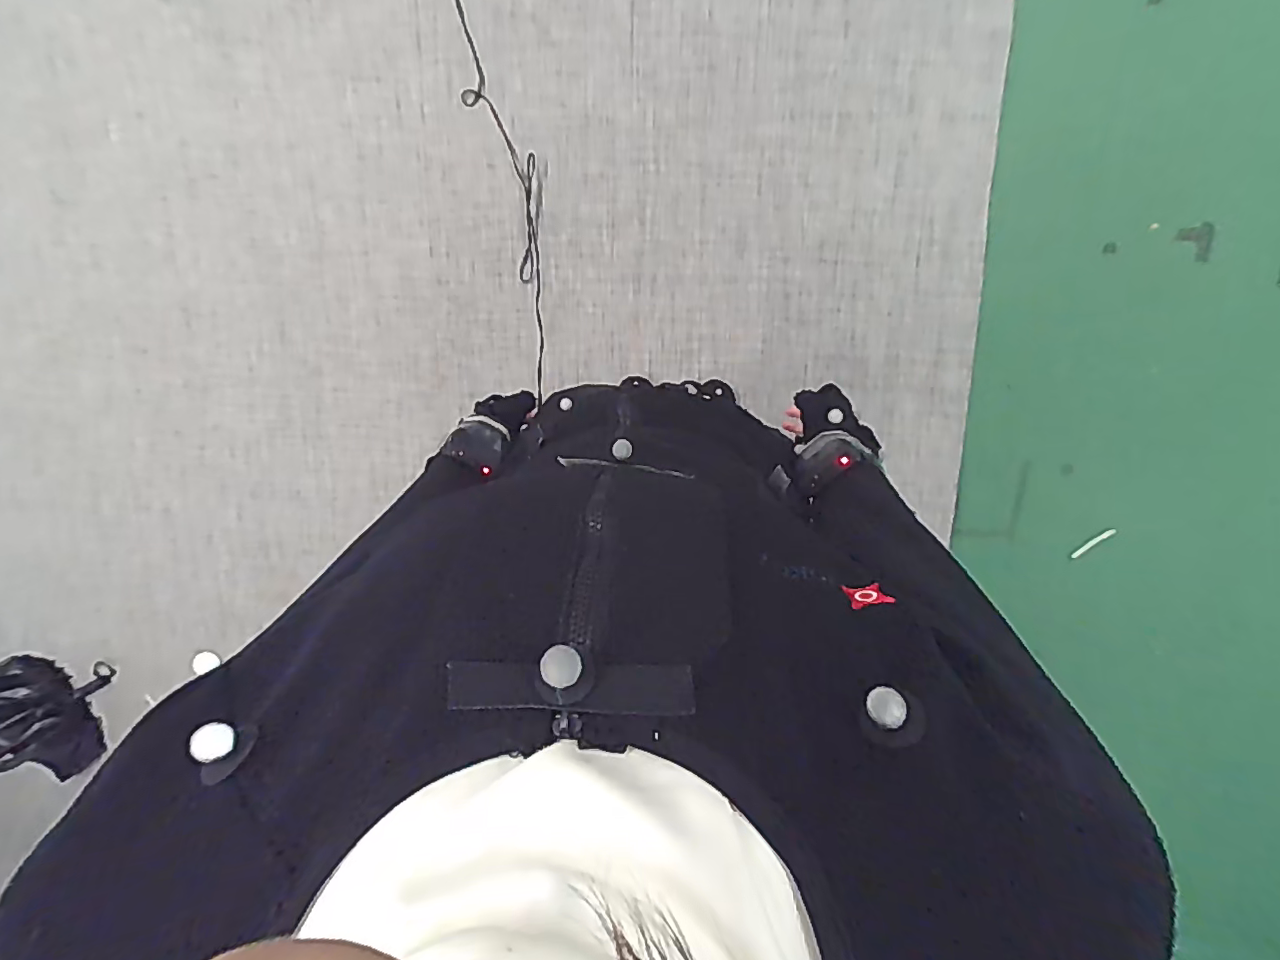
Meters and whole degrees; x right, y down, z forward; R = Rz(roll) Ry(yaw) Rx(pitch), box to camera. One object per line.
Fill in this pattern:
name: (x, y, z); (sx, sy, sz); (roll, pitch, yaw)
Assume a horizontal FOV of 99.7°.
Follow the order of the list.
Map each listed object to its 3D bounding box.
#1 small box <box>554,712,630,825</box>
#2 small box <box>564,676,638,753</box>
small box: (-0.113, 0.702, 1.329); (0.168, 0.176, 0.179); (3, 100, 2)
small box: (-0.106, 0.661, 1.487); (0.179, 0.176, 0.168); (4, 101, 4)
